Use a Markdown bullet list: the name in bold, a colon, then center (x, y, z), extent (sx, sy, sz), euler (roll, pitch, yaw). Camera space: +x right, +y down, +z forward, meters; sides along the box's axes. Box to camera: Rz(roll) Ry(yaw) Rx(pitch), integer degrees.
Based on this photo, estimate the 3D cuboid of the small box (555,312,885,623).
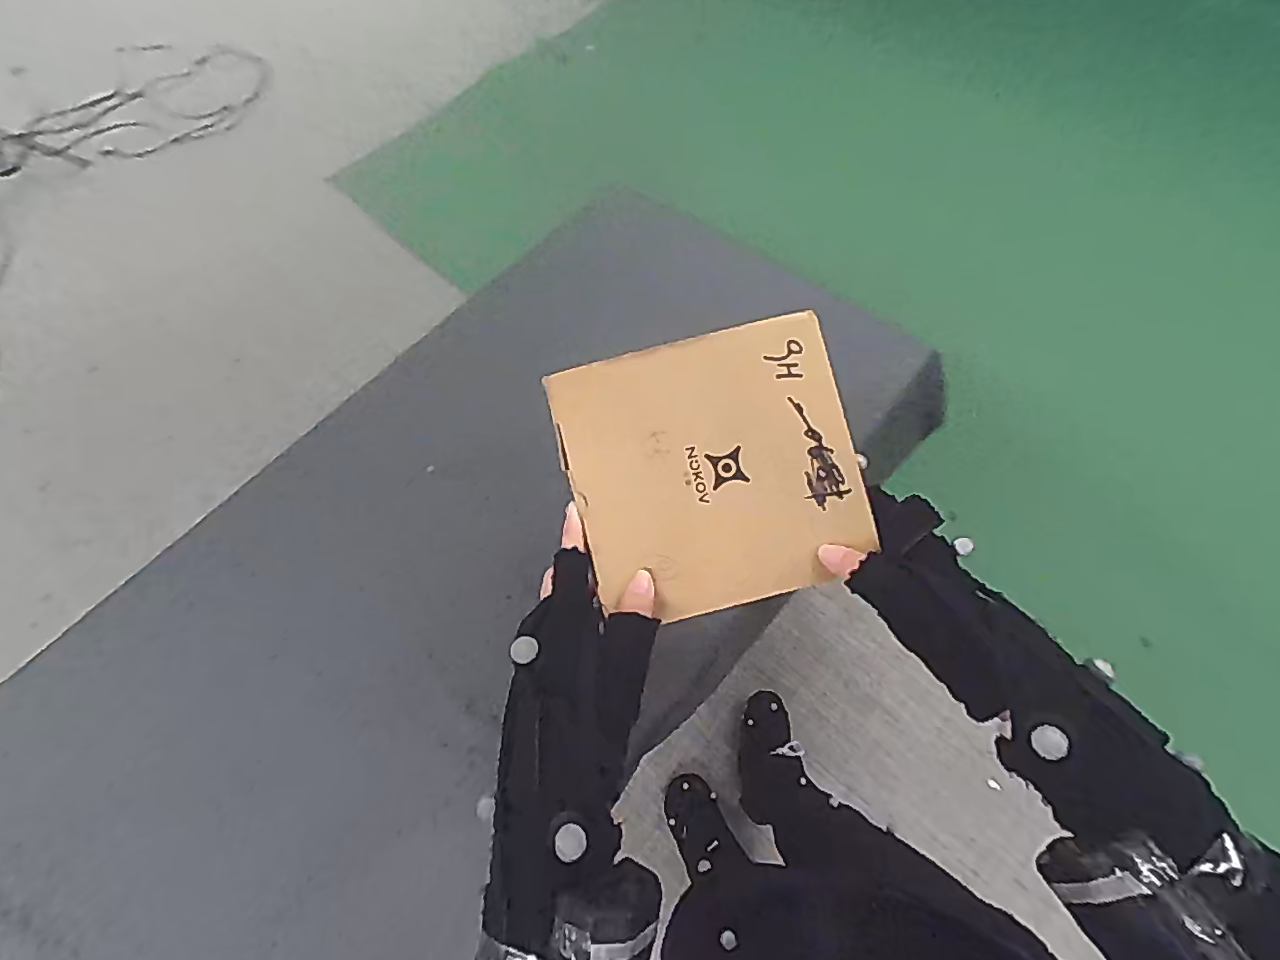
- **small box**: center (0.050, -0.001, 0.419), extent (0.179, 0.176, 0.168), euler (-15, 84, -1)
